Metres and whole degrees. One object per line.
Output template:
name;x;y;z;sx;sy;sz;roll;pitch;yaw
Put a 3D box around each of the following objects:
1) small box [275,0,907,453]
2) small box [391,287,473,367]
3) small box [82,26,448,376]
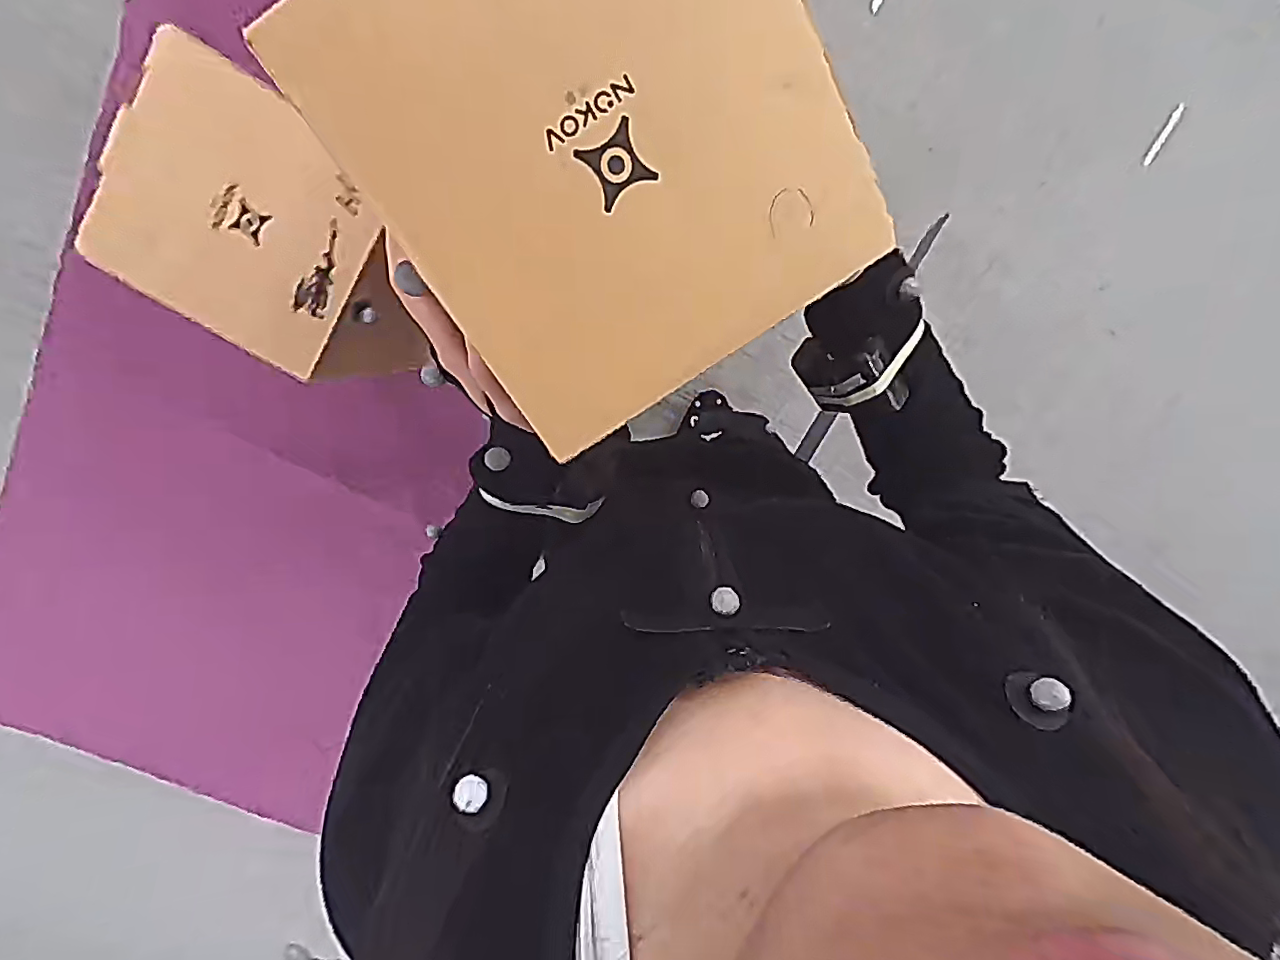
small box;-0.013;-0.146;0.267;0.168;0.176;0.179;-32;110;5
small box;-0.284;-0.241;0.610;0.179;0.176;0.168;29;101;-8
small box;-0.275;-0.202;0.451;0.179;0.176;0.168;31;101;-8
